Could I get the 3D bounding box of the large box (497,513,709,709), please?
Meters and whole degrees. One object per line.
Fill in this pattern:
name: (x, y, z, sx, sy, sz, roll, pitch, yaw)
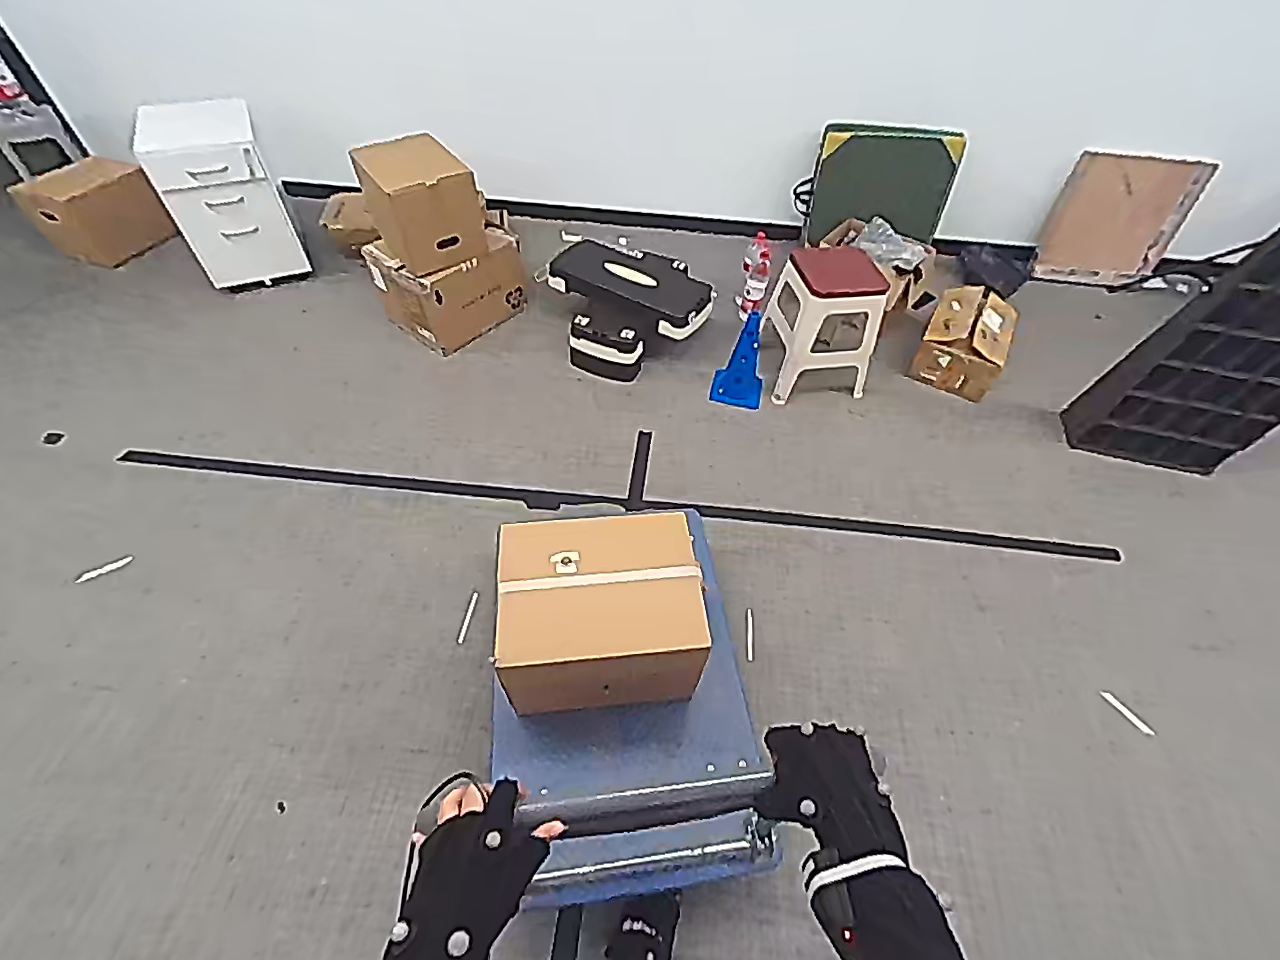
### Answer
large box: (-0.087, 0.298, 1.212, 0.408, 0.320, 0.320, -4, 52, -6)
